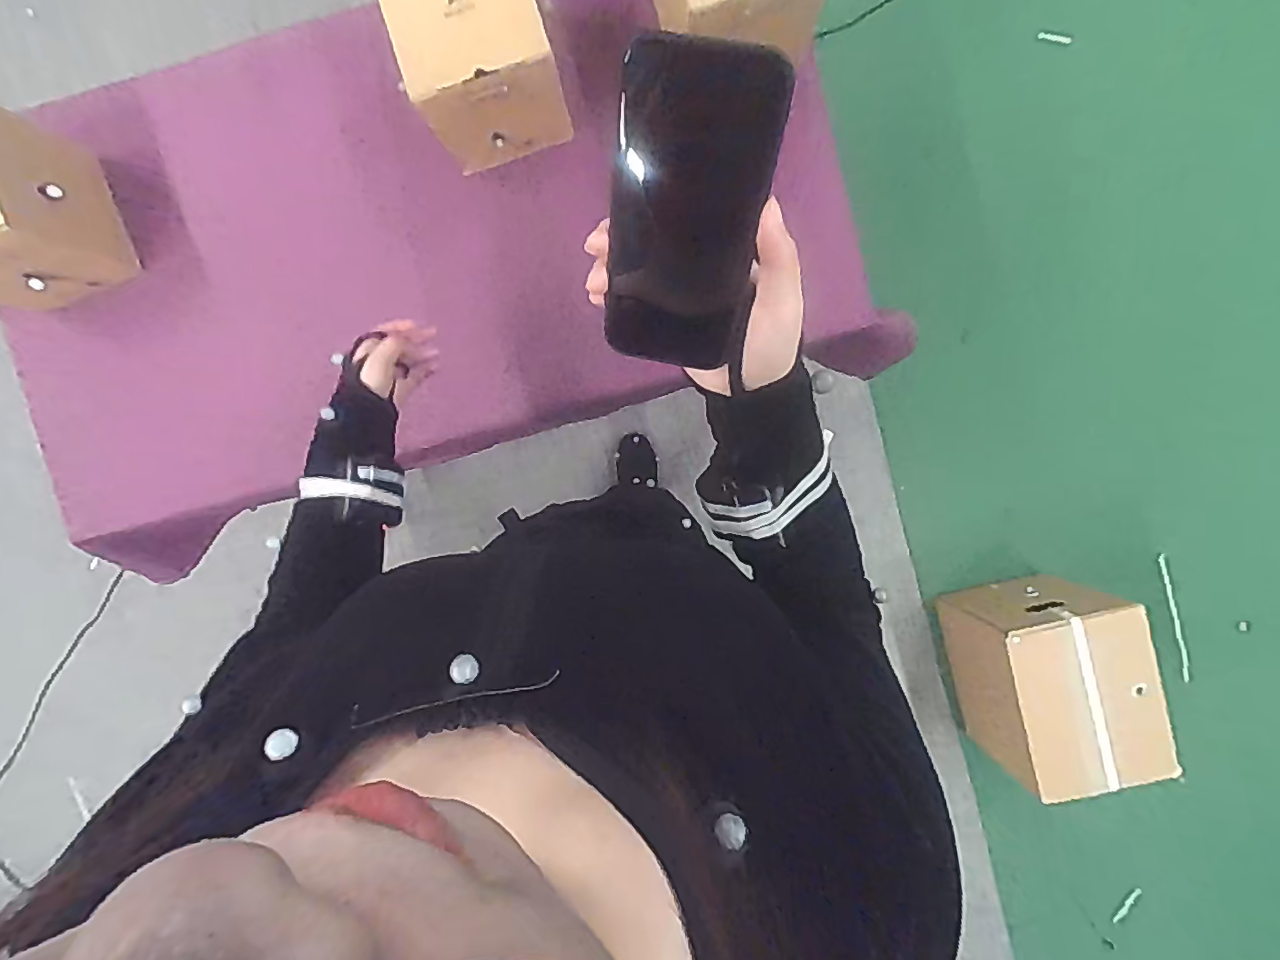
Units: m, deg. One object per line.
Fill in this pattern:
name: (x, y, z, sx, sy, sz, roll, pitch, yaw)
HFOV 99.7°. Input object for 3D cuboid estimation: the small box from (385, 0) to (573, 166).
small box: (-0.192, -0.531, 0.662, 0.168, 0.176, 0.179, -17, 94, 3)

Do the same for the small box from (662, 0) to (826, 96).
small box: (0.115, -0.613, 0.643, 0.168, 0.176, 0.179, -15, 94, 4)

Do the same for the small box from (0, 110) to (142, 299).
small box: (-0.807, -0.348, 0.692, 0.168, 0.176, 0.179, -20, 94, 2)
